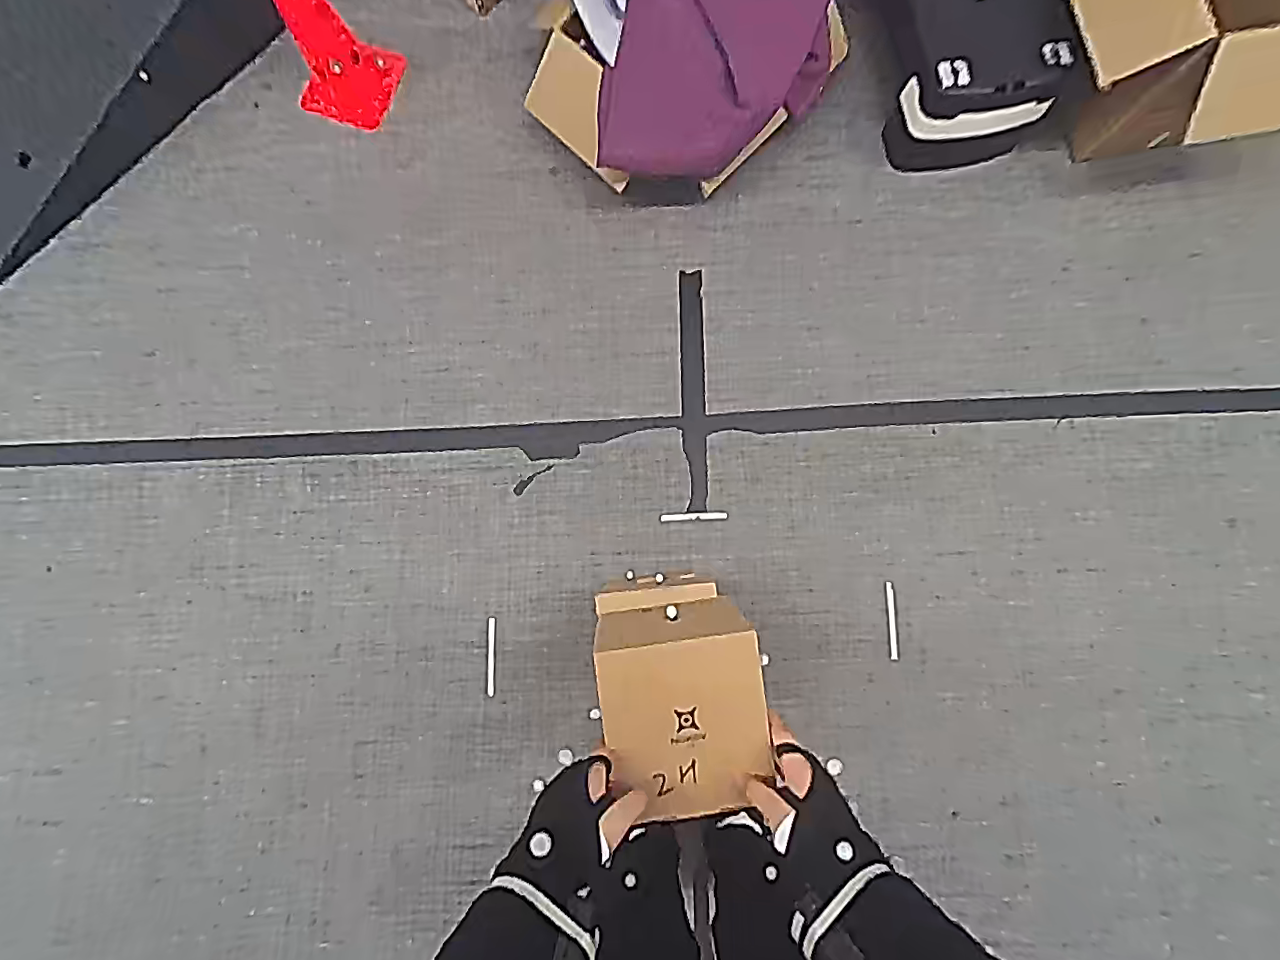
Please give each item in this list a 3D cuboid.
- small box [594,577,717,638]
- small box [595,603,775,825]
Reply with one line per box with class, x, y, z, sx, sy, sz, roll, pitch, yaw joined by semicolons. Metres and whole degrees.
small box;0.031;0.244;0.834;0.179;0.176;0.168;-6;83;0
small box;0.041;0.244;0.613;0.168;0.176;0.179;-7;89;-2
